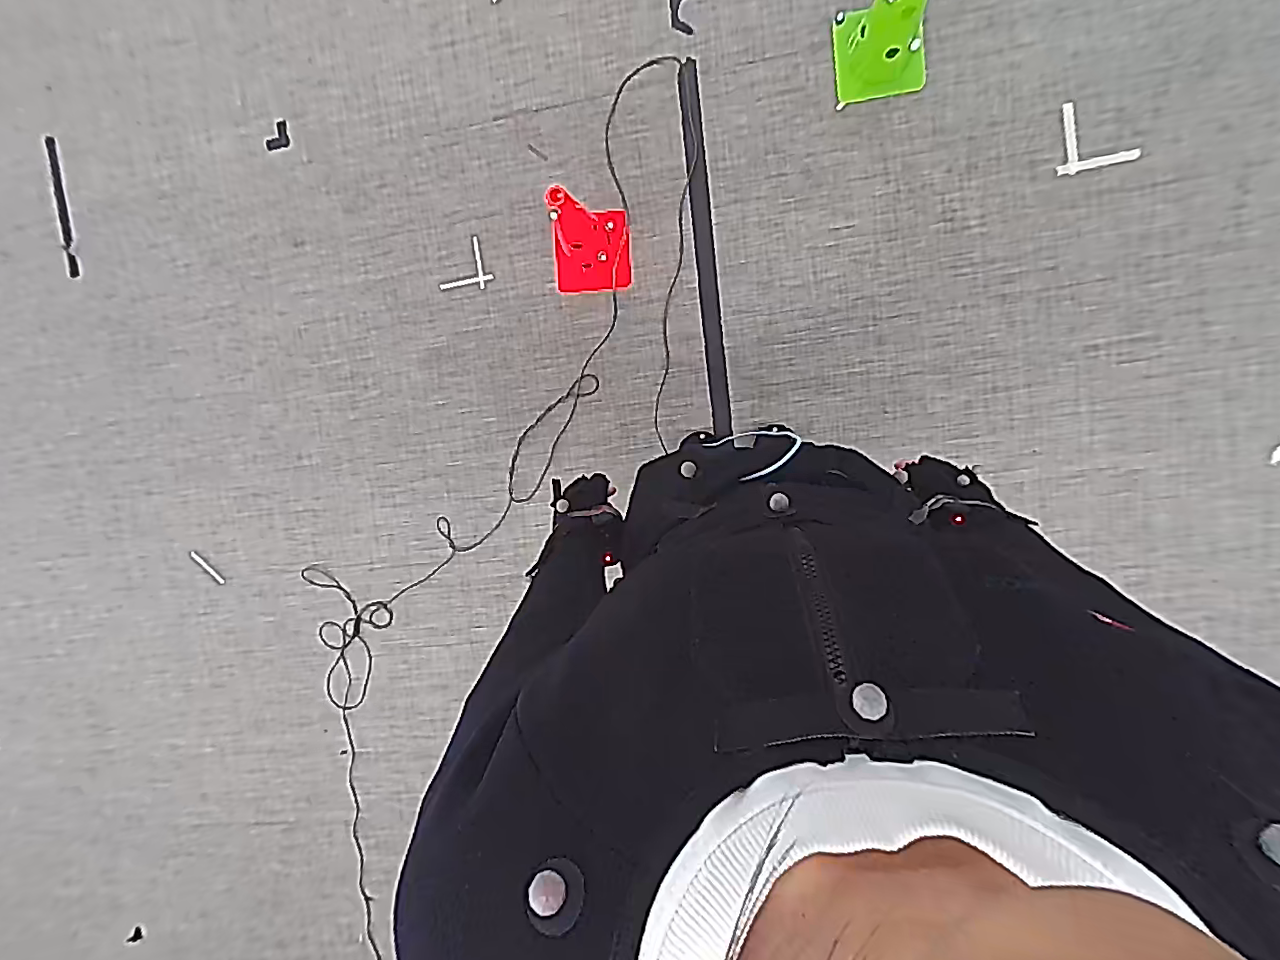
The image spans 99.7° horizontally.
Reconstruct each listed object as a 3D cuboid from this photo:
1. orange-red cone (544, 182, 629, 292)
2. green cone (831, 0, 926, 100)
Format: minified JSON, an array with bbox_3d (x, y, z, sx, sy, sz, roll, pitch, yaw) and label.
[{"bbox_3d":[-0.150,-0.579,1.233,0.199,0.360,0.198,-2,94,9],"label":"orange-red cone"},{"bbox_3d":[0.539,-0.991,1.100,0.202,0.368,0.200,-6,95,7],"label":"green cone"}]
